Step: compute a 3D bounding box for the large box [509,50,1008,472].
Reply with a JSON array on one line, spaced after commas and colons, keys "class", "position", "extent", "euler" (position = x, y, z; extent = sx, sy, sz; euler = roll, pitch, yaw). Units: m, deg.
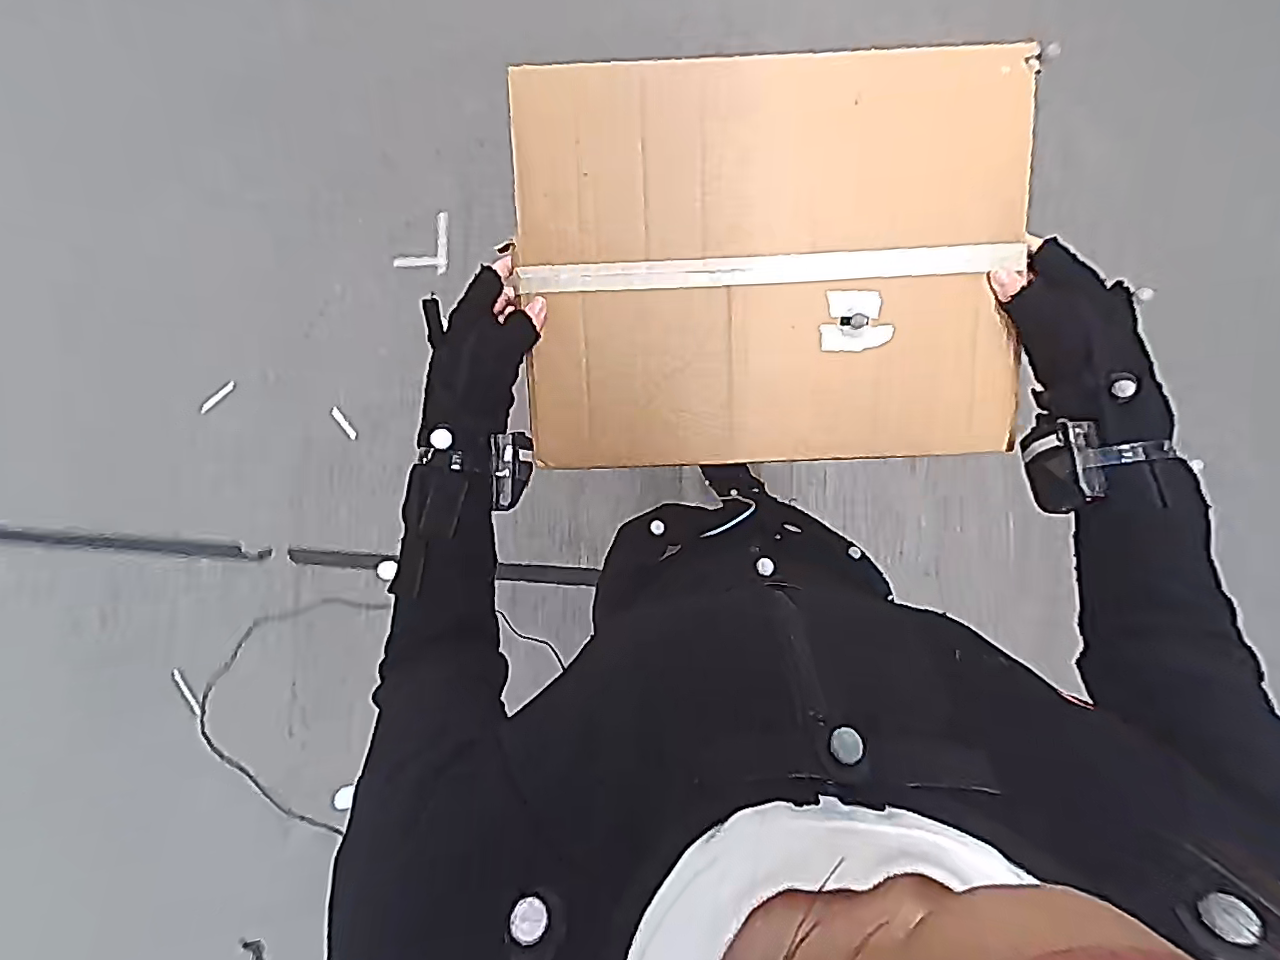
[{"class": "large box", "position": [0.101, -0.194, 0.596], "extent": [0.408, 0.320, 0.320], "euler": [-4, 99, 0]}]
